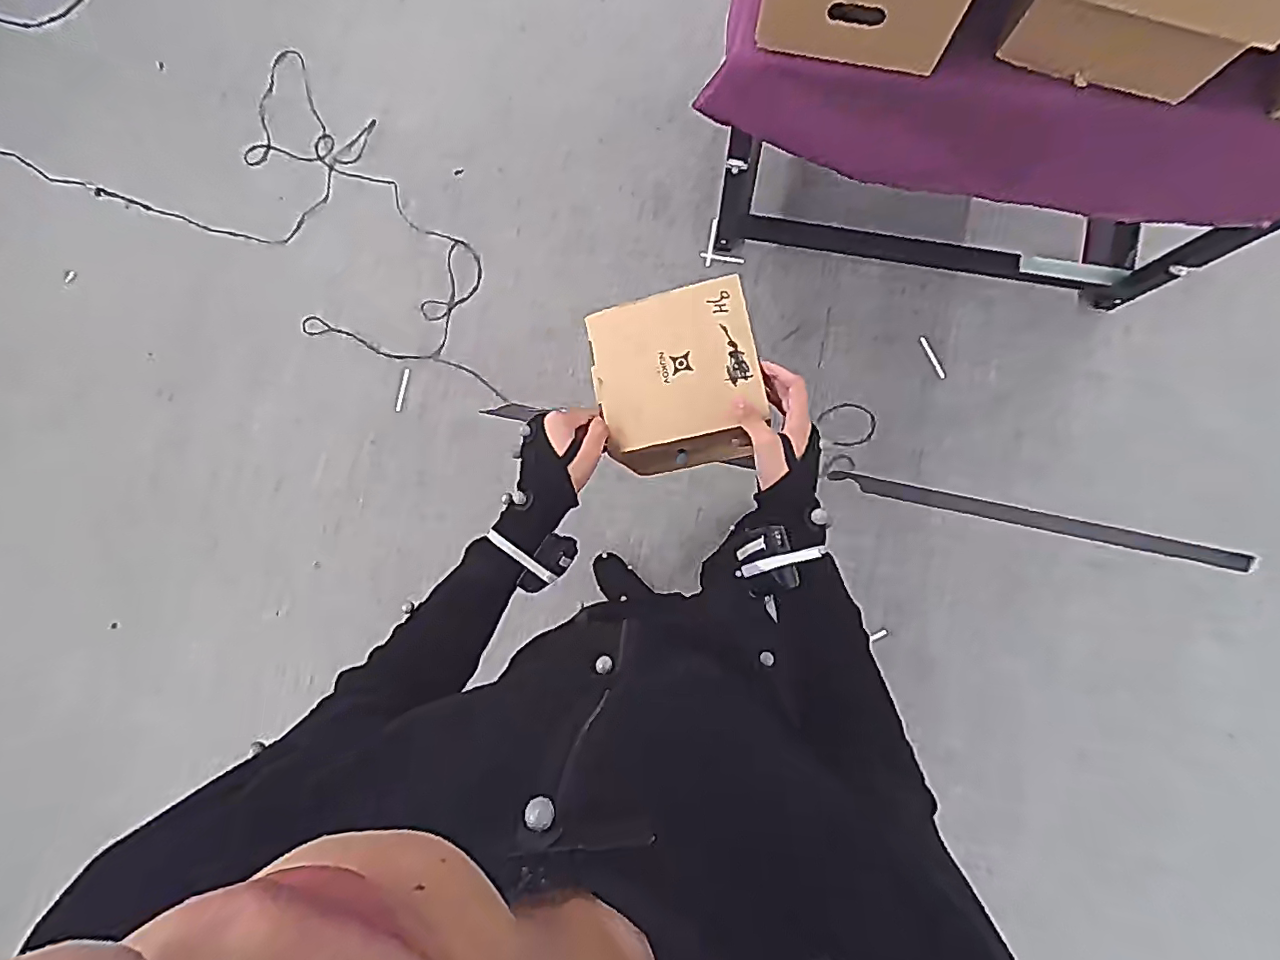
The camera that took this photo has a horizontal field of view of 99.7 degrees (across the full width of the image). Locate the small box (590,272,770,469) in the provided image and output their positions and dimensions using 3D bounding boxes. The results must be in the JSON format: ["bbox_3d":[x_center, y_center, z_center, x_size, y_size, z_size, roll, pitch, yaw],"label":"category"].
[{"bbox_3d":[0.056,-0.116,0.653,0.179,0.176,0.168,-11,80,11],"label":"small box"}]
